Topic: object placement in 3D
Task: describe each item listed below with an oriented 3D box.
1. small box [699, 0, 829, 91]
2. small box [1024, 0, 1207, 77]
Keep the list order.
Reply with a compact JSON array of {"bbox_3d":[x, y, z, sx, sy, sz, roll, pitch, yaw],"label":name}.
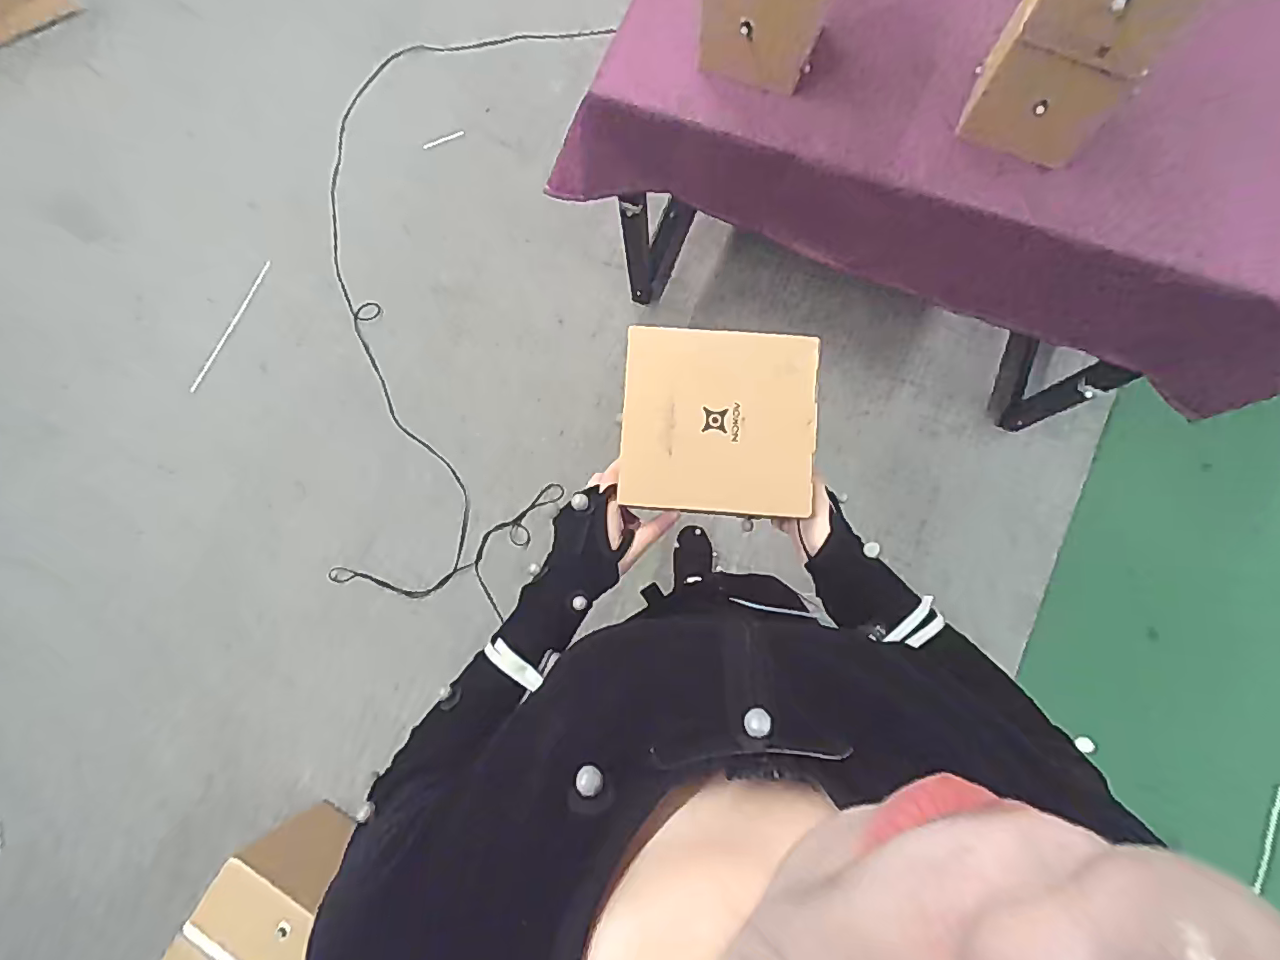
[{"bbox_3d":[0.206,-0.773,0.865,0.179,0.176,0.168,23,81,7],"label":"small box"},{"bbox_3d":[0.614,-0.646,0.654,0.168,0.176,0.179,28,82,8],"label":"small box"}]
